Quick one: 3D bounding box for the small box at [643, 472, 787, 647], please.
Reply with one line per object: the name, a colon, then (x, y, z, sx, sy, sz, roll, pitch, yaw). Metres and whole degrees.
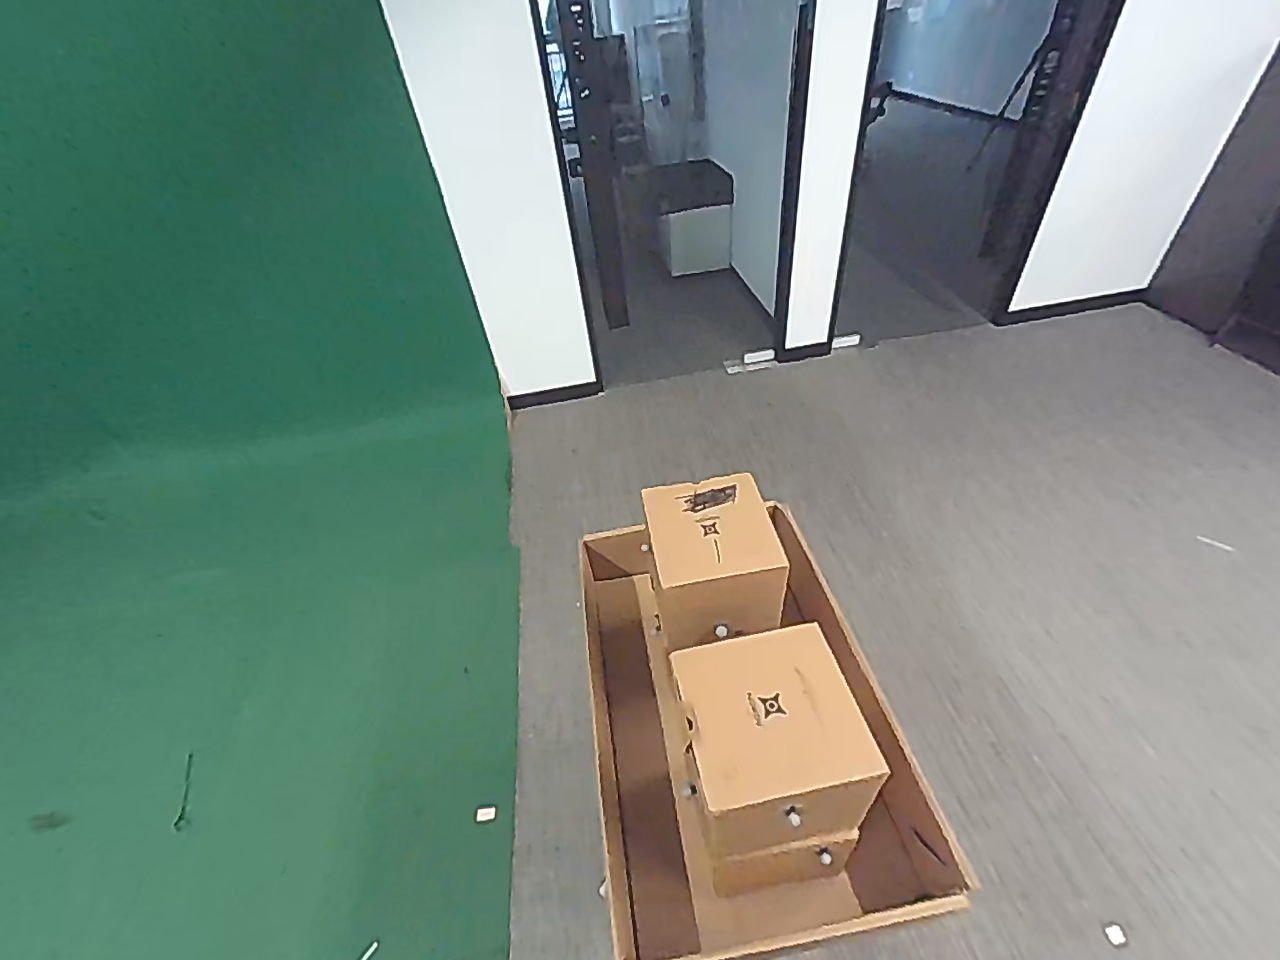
small box: (0.100, 0.115, 0.789, 0.168, 0.176, 0.179, -10, 45, -2)

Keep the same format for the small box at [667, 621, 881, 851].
small box: (0.136, 0.288, 0.607, 0.179, 0.176, 0.168, -10, 43, -4)

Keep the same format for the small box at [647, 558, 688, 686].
small box: (0.115, 0.229, 0.907, 0.179, 0.176, 0.168, -9, 45, -1)
